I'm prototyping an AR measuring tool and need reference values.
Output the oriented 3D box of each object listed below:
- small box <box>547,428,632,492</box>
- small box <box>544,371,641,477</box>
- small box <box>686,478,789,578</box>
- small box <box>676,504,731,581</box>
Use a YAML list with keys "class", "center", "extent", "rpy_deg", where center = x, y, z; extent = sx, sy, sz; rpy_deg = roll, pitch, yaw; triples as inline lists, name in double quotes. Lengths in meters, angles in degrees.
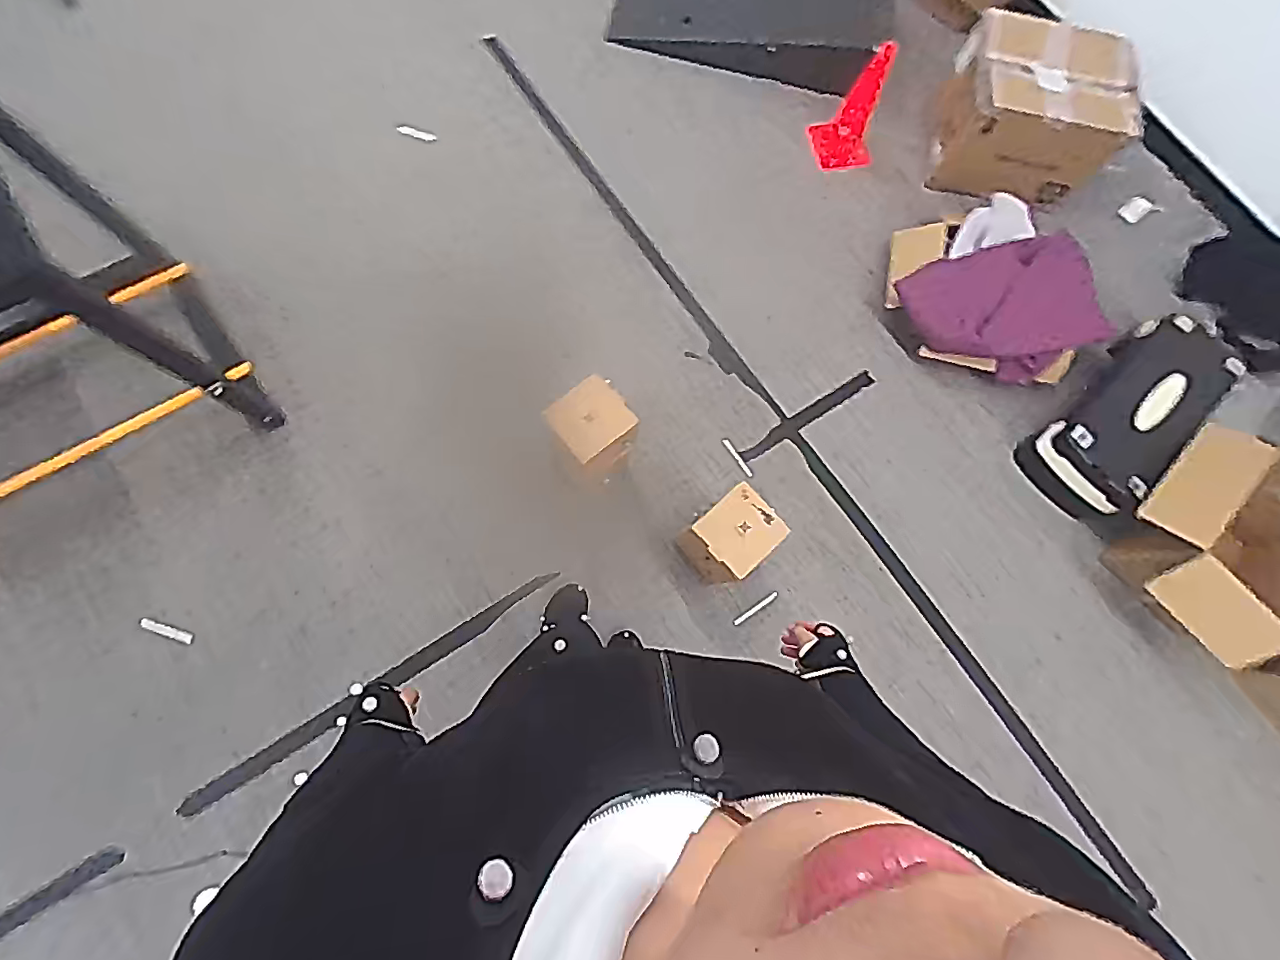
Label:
- class: "small box"
  center: [-0.143, -0.089, 1.511]
  extent: [0.168, 0.176, 0.179]
  rpy_deg: [-36, 82, -12]
- class: "small box"
  center: [-0.119, -0.134, 1.356]
  extent: [0.179, 0.176, 0.168]
  rpy_deg: [-39, 81, -11]
- class: "small box"
  center: [0.228, 0.126, 1.325]
  extent: [0.179, 0.176, 0.168]
  rpy_deg: [-40, 83, -12]
- class: "small box"
  center: [0.222, 0.161, 1.485]
  extent: [0.168, 0.176, 0.179]
  rpy_deg: [-39, 83, -13]
